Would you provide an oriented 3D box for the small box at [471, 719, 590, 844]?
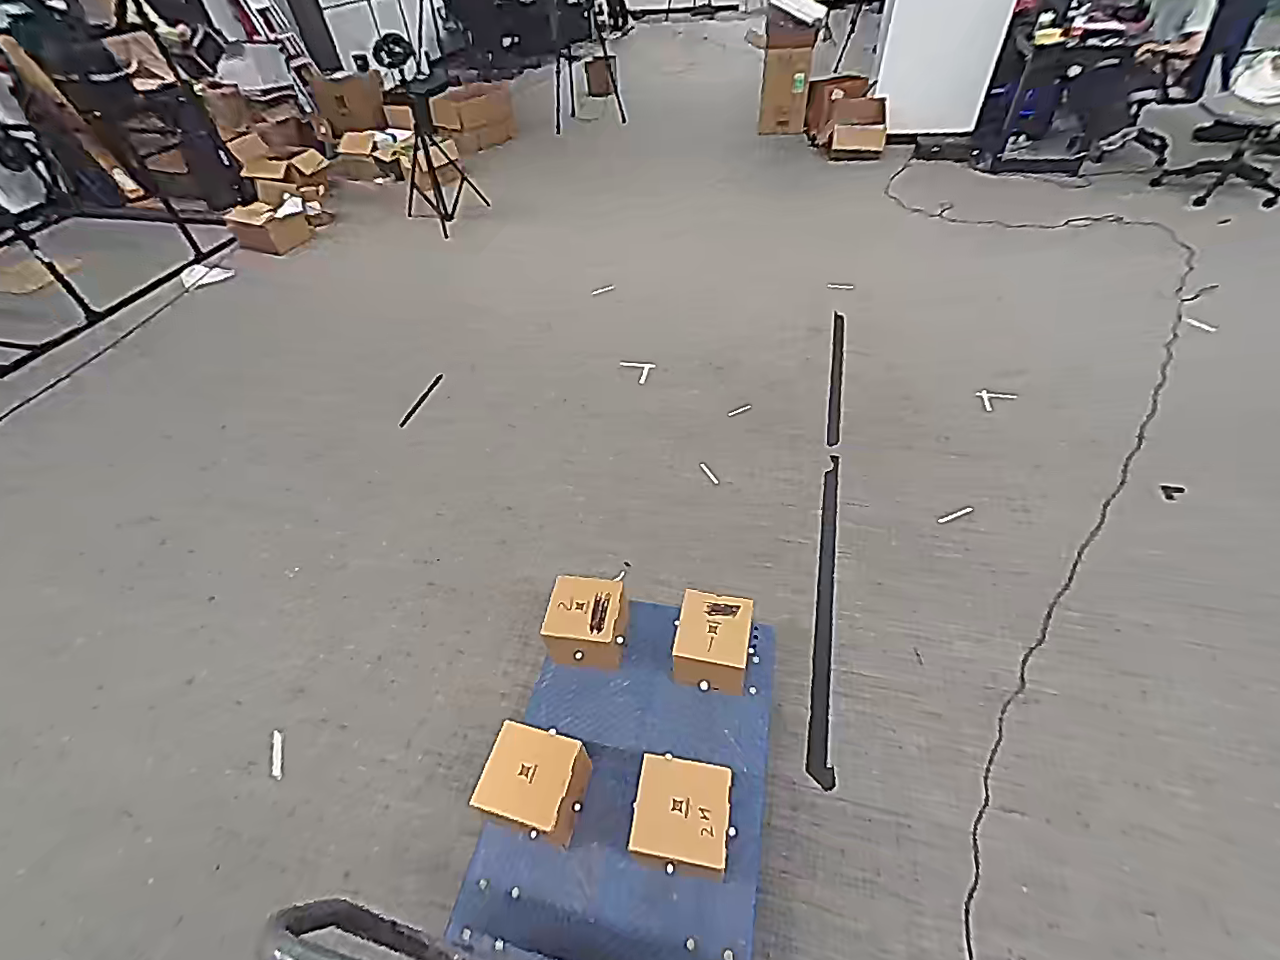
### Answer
[{"bbox_3d":[-0.217,0.631,1.128,0.179,0.176,0.168,10,48,13],"label":"small box"}]

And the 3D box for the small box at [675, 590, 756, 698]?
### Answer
[{"bbox_3d":[0.181,0.396,1.307,0.168,0.176,0.179,8,49,13],"label":"small box"}]

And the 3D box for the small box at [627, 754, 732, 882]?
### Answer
[{"bbox_3d":[0.083,0.667,1.063,0.179,0.176,0.168,6,48,11],"label":"small box"}]
